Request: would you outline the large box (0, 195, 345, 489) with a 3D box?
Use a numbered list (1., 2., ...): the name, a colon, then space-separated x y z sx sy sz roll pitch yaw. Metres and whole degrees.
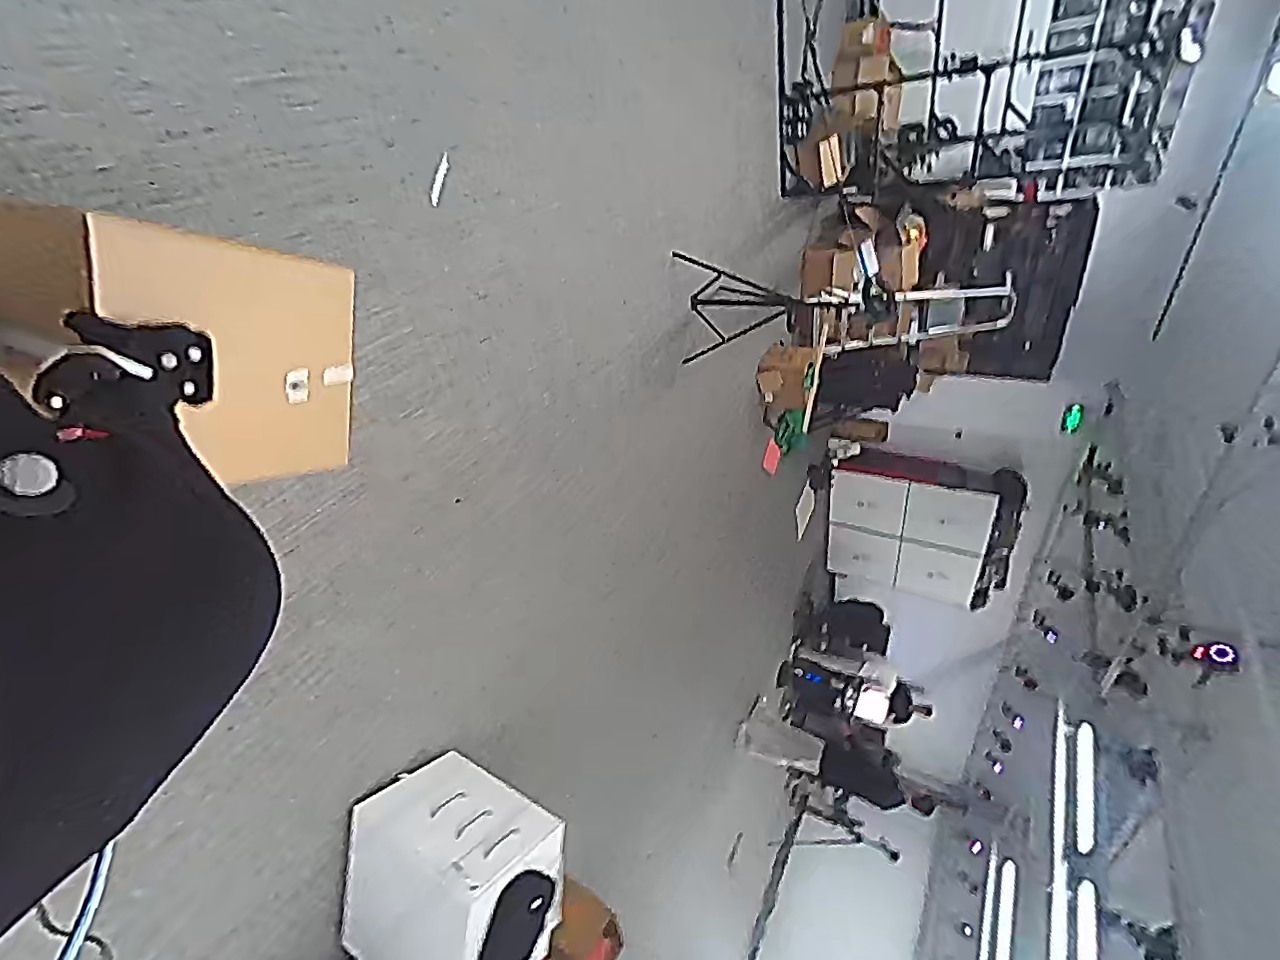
1. large box: -0.703 -0.209 0.787 0.320 0.408 0.320 -24 127 -63
